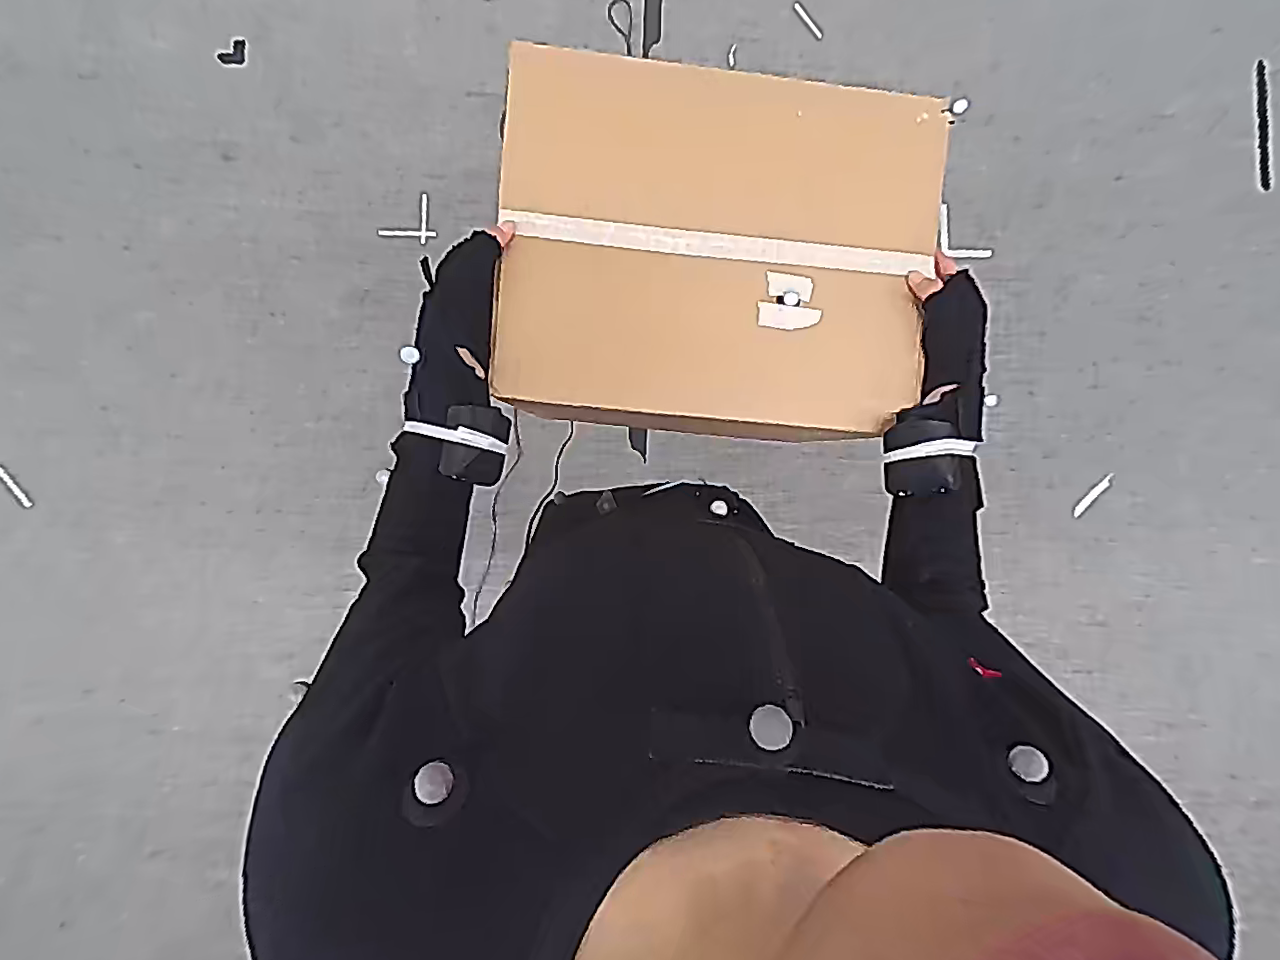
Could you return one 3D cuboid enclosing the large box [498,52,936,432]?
[{"bbox_3d":[0.063,-0.231,0.659,0.408,0.320,0.320,5,94,-4],"label":"large box"}]
